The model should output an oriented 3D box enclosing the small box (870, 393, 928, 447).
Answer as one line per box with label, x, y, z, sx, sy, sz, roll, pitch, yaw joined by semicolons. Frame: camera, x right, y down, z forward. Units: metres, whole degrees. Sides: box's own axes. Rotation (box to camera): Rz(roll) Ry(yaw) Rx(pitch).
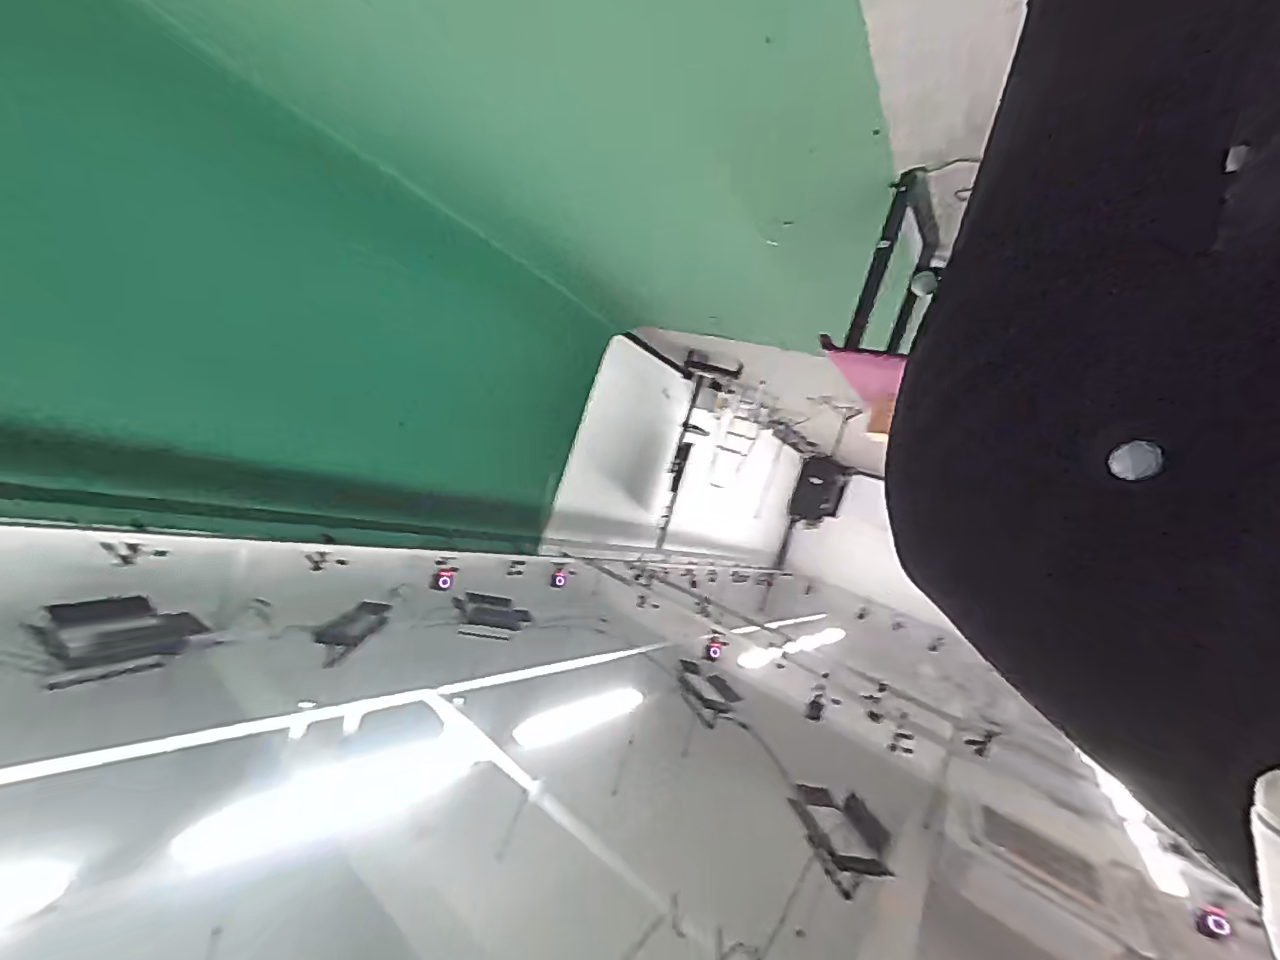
small box;1.072;-0.251;2.234;0.168;0.176;0.179;20;-179;34
